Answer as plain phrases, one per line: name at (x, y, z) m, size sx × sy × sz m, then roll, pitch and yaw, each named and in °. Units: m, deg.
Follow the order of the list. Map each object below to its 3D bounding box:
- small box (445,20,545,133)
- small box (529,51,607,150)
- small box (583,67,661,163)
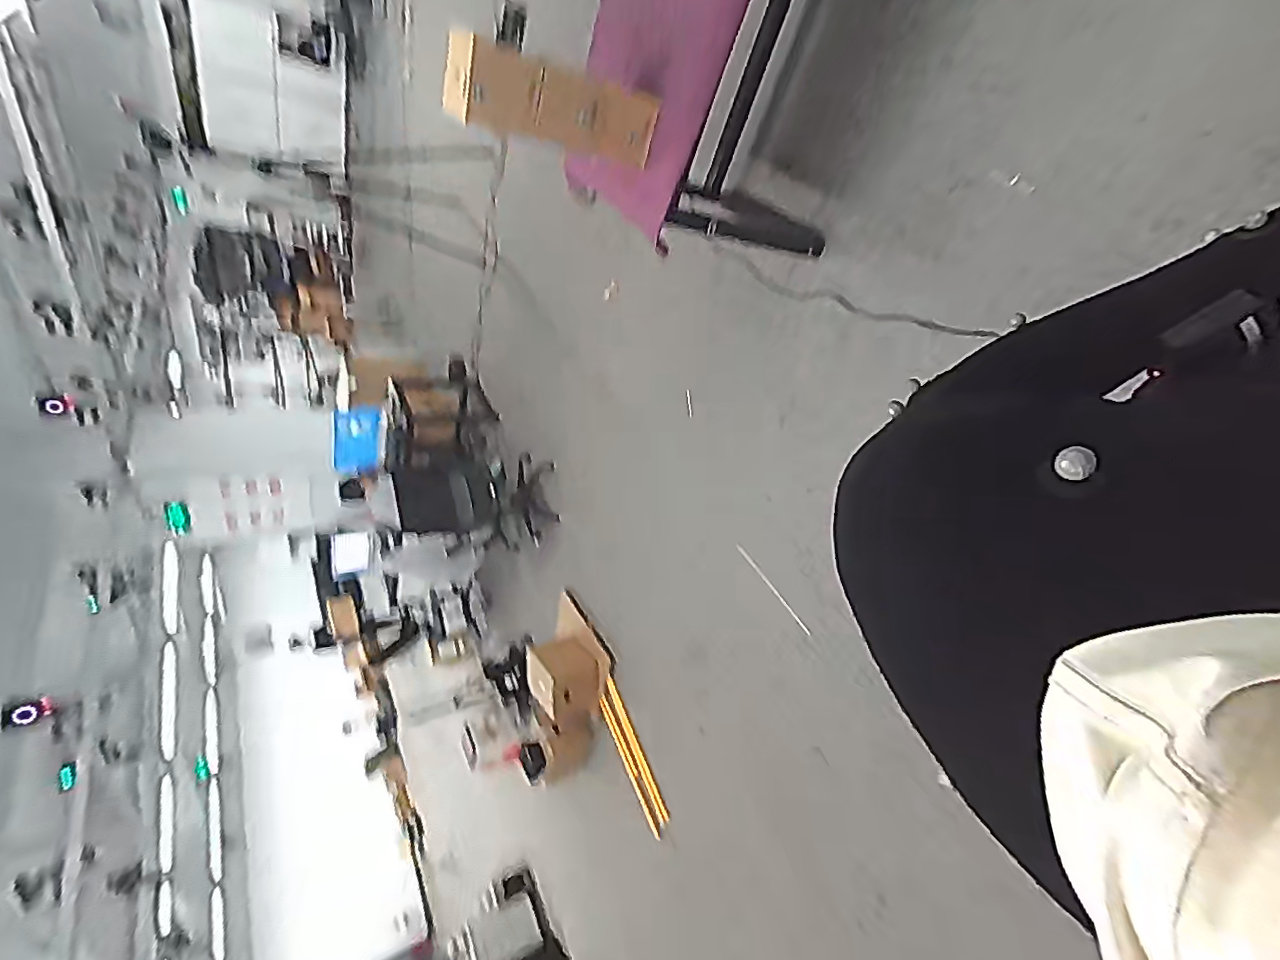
small box at (-0.343, -0.942, 1.270) m, size 0.179 × 0.176 × 0.168 m, roll 51°, pitch 134°, yaw 38°
small box at (-0.209, -0.955, 1.363) m, size 0.179 × 0.176 × 0.168 m, roll 48°, pitch 132°, yaw 39°
small box at (-0.073, -0.977, 1.454) m, size 0.179 × 0.176 × 0.168 m, roll 49°, pitch 132°, yaw 38°
